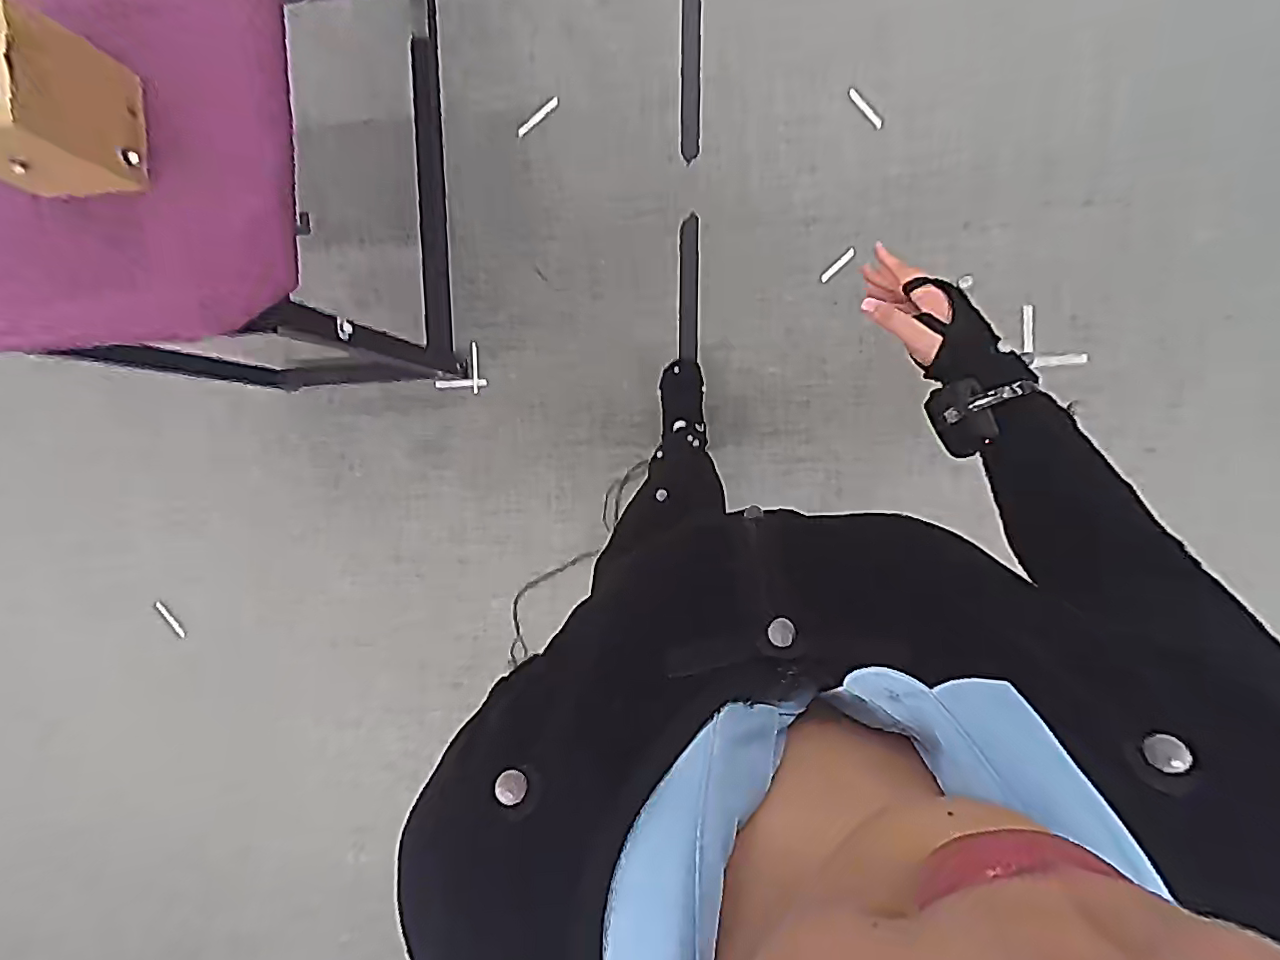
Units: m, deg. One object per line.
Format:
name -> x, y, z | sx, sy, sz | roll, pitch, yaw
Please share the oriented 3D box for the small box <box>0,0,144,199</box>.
small box -> -0.835, -0.510, 0.744 | 0.179, 0.176, 0.168 | -1, 92, 6
